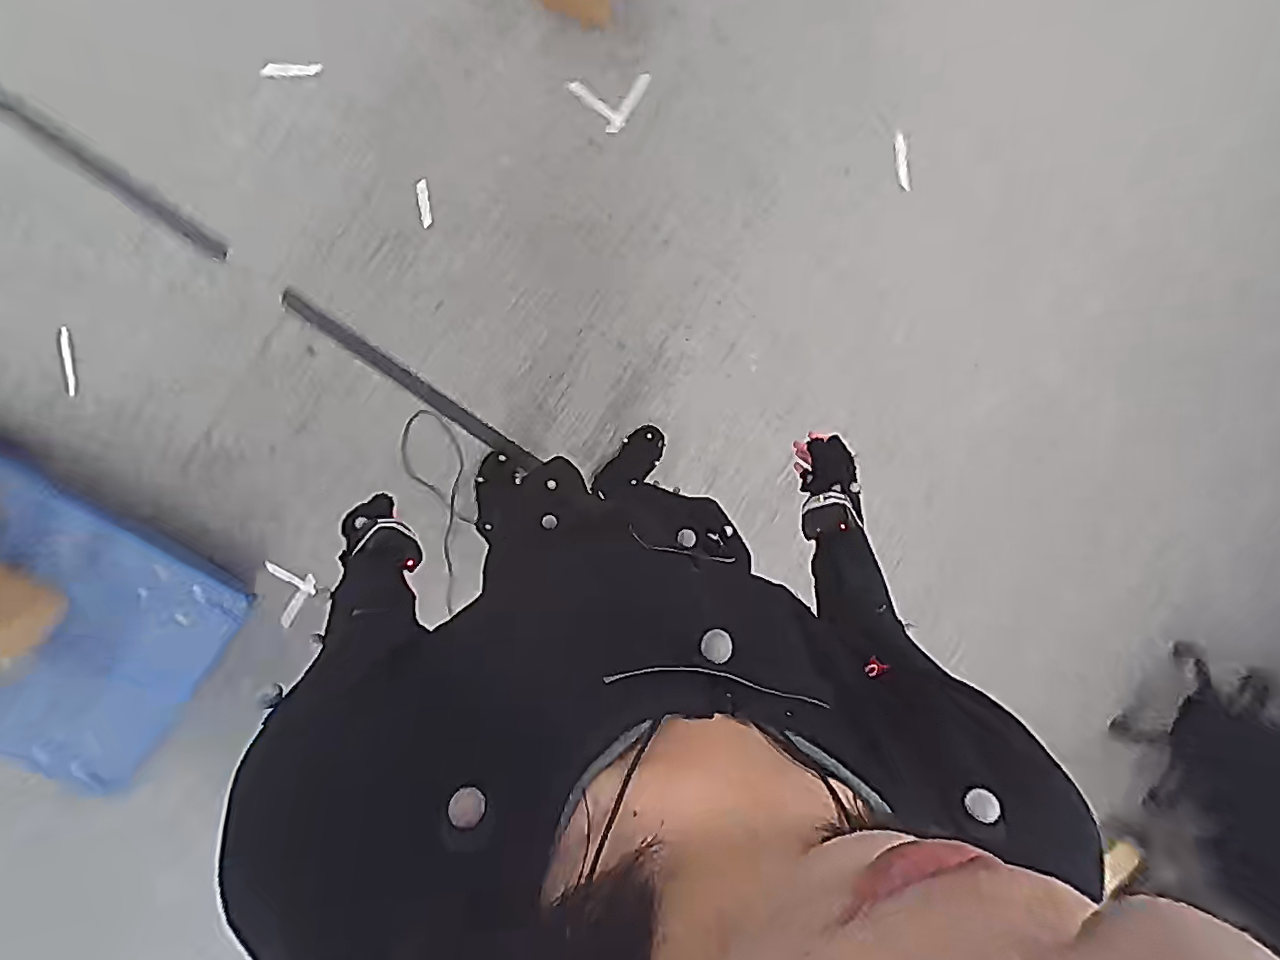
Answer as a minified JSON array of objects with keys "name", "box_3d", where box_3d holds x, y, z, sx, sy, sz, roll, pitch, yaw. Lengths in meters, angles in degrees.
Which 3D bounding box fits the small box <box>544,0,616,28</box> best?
[{"name":"small box","box_3d":[-0.129,-1.223,1.267,0.179,0.176,0.168,16,95,-12]}]

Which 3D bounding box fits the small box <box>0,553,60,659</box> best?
[{"name":"small box","box_3d":[-1.335,0.269,1.069,0.168,0.176,0.179,37,91,-14]}]
